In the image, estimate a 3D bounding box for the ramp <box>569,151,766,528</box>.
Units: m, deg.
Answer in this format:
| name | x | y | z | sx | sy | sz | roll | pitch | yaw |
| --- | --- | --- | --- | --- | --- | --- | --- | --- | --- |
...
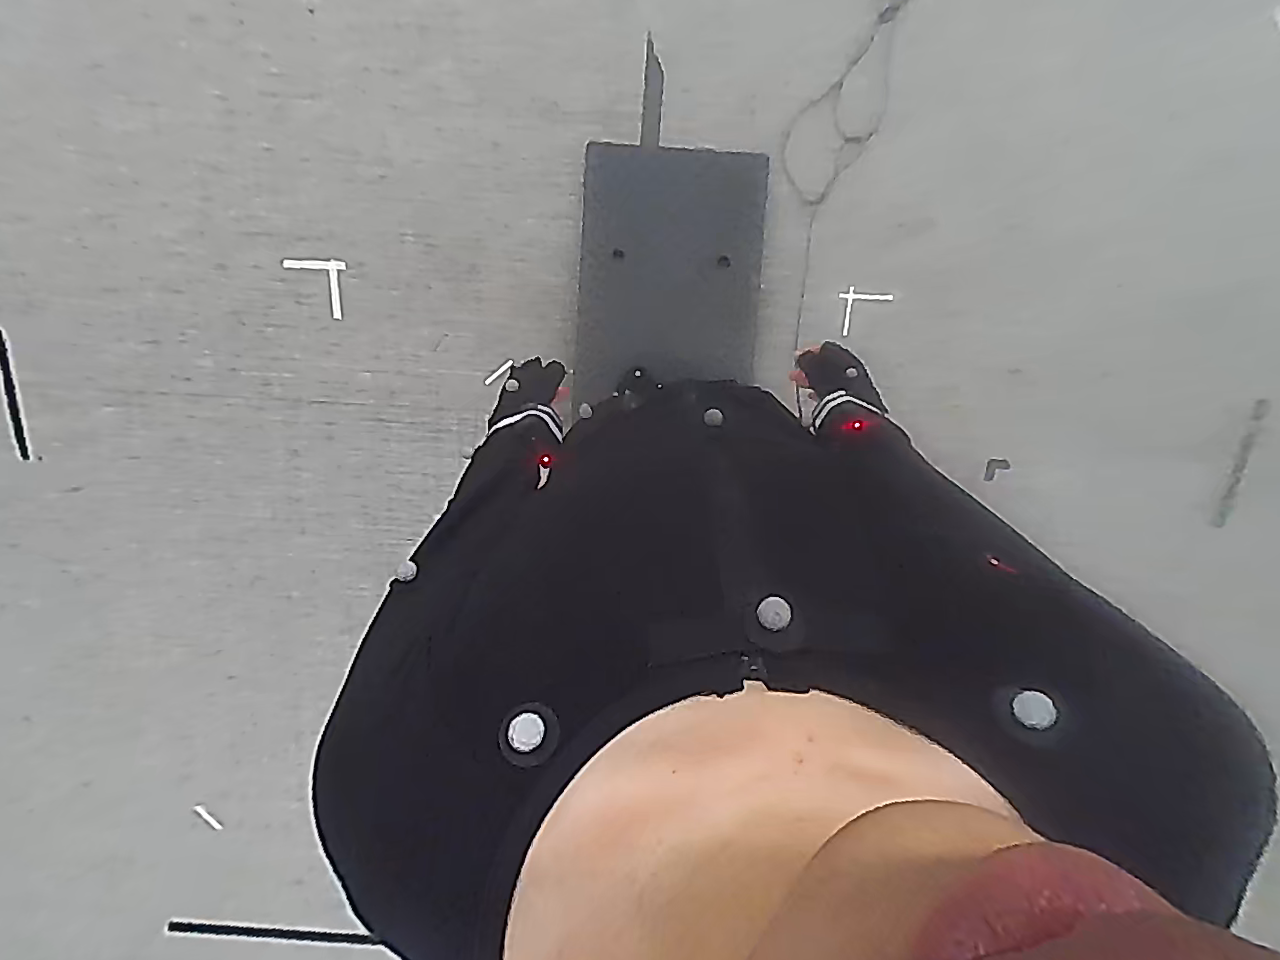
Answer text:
| name | x | y | z | sx | sy | sz | roll | pitch | yaw |
| --- | --- | --- | --- | --- | --- | --- | --- | --- | --- |
| ramp | 0.069 | -0.376 | 1.475 | 0.509 | 0.206 | 0.991 | 2 | 103 | 1 |
